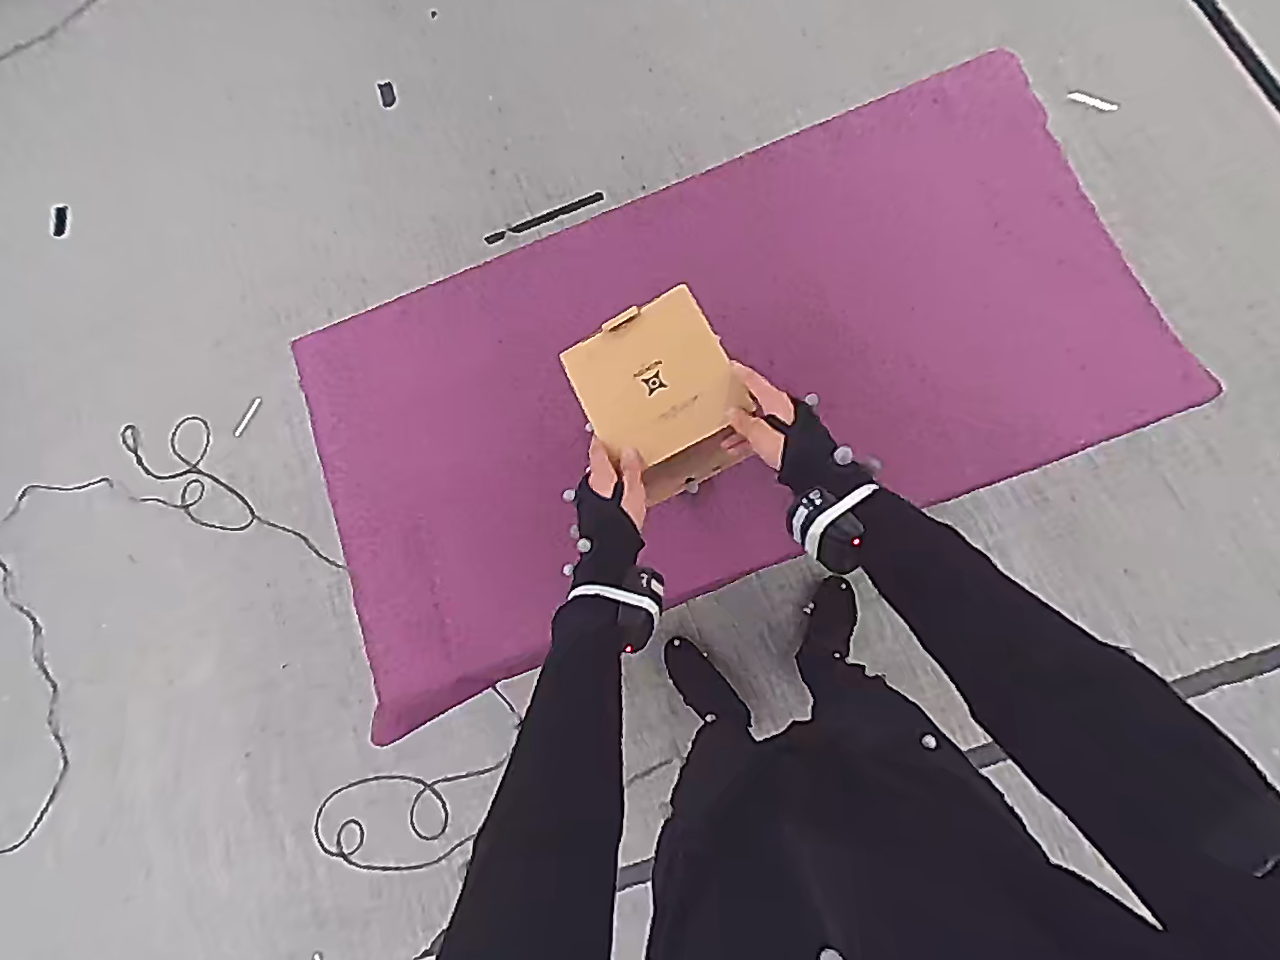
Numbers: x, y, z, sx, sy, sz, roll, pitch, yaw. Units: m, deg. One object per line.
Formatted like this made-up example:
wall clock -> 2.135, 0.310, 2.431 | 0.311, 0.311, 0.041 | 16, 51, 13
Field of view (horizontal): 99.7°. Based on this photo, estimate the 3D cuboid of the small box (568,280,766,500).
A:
small box -> 0.039, -0.095, 0.655 | 0.168, 0.176, 0.179 | -27, 74, 7
